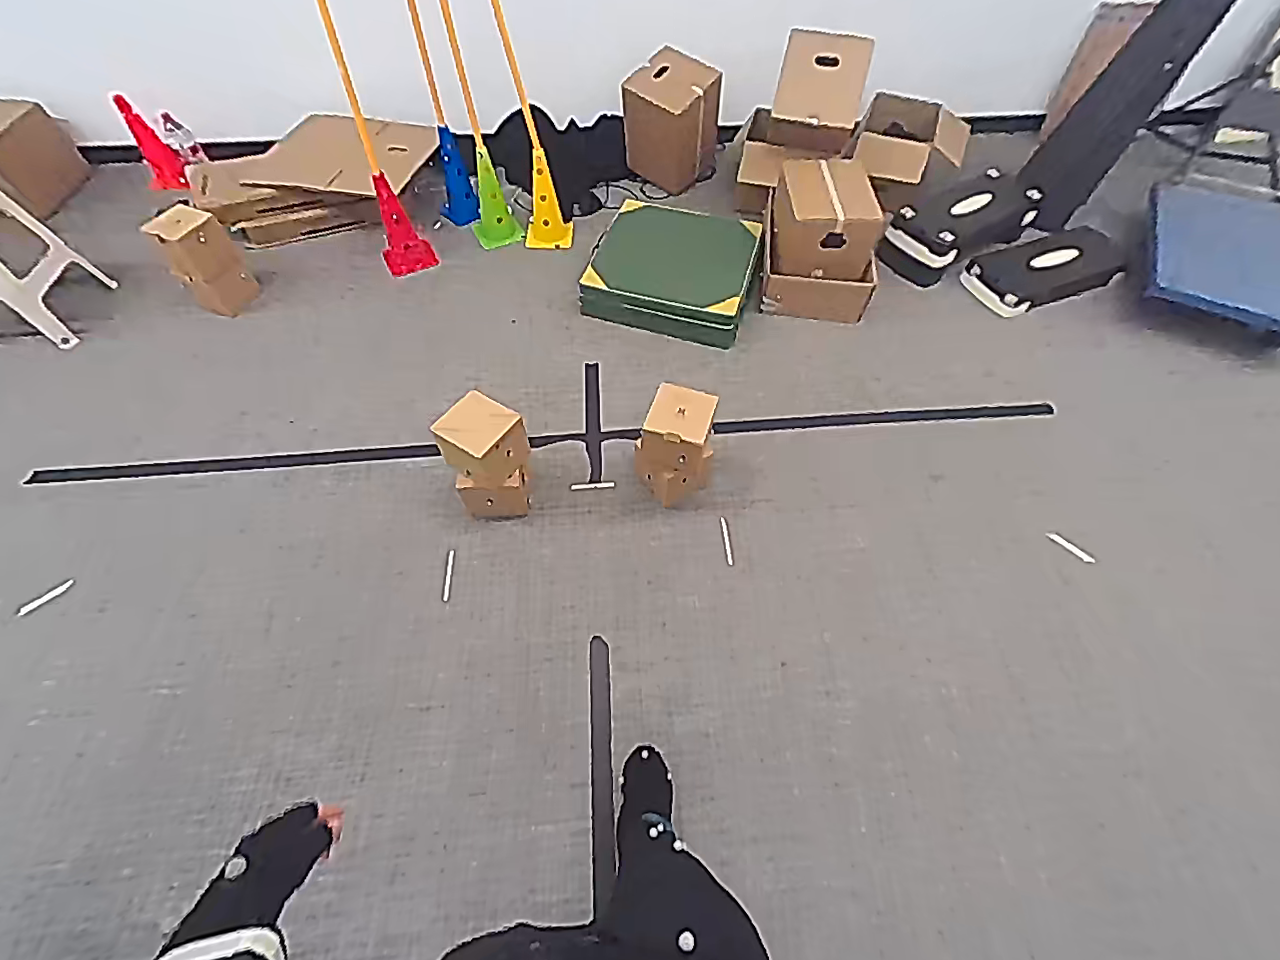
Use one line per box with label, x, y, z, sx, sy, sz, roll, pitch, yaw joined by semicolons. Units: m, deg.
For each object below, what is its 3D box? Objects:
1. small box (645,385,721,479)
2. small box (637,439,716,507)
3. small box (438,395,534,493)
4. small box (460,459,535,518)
small box;0.116;-0.128;1.499;0.168;0.176;0.179;17;58;9
small box;0.108;-0.049;1.645;0.179;0.176;0.168;-32;63;-20
small box;-0.417;-0.099;1.473;0.179;0.176;0.168;26;60;14
small box;-0.413;0.003;1.606;0.179;0.176;0.168;-2;56;0
